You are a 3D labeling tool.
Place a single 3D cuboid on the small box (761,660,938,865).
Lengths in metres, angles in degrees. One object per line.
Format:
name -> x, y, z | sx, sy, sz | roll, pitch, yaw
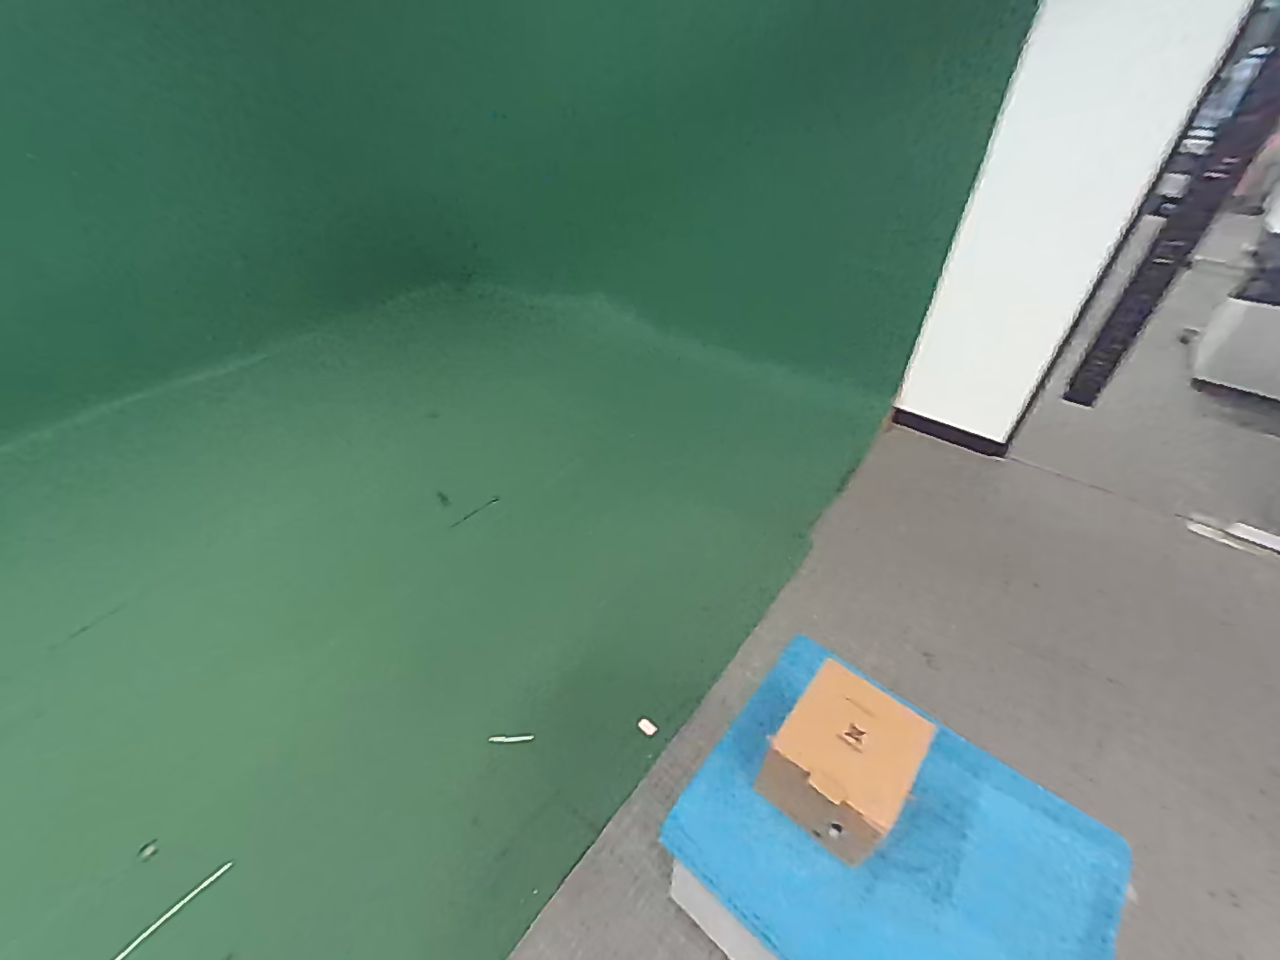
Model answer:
small box -> 0.292, 0.409, 0.785 | 0.168, 0.176, 0.179 | 32, 50, 29
